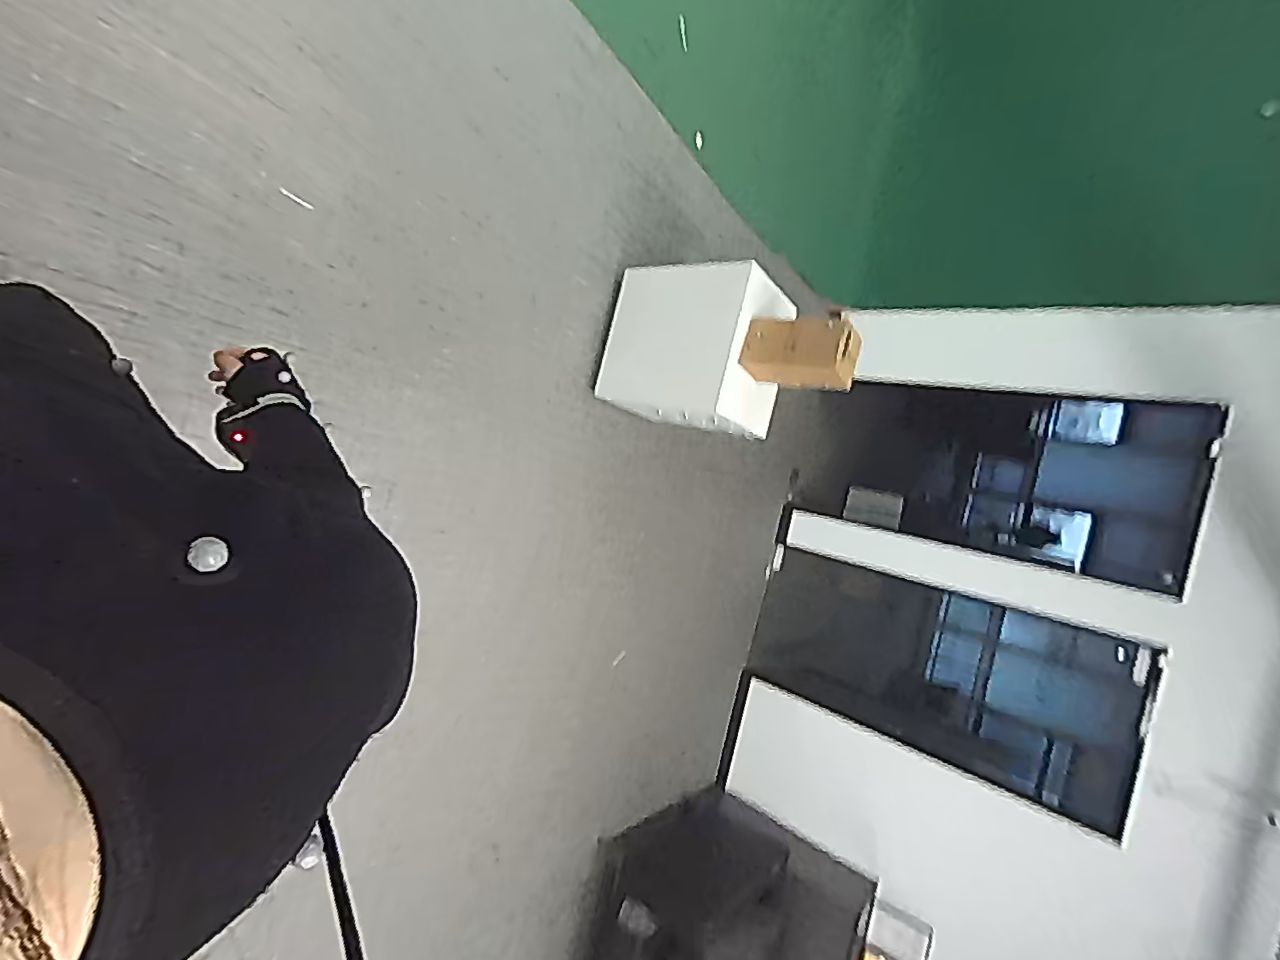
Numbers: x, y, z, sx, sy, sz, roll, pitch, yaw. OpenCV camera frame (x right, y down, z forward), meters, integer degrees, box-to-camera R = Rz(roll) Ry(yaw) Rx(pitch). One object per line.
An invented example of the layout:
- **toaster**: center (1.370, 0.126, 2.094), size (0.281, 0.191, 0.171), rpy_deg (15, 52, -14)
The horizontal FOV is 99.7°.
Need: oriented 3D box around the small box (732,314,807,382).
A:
- **small box**: center (0.437, -0.450, 1.827), size (0.179, 0.176, 0.168), rpy_deg (25, 82, -53)
